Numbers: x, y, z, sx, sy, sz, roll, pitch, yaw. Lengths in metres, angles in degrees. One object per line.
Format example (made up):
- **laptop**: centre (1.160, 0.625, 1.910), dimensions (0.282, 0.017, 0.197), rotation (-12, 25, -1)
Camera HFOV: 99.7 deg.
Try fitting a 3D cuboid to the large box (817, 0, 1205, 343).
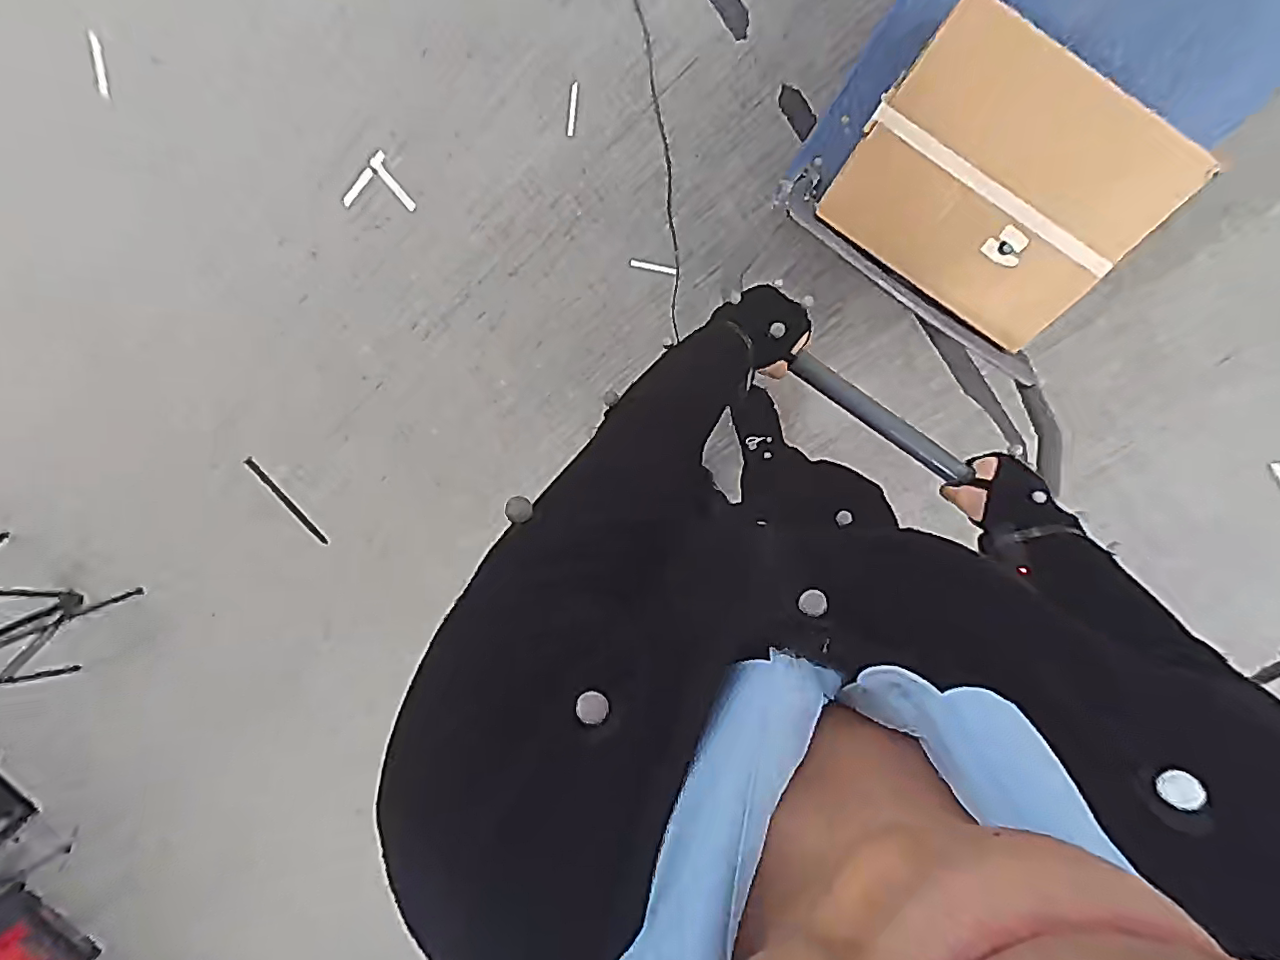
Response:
- **large box**: centre (0.566, -0.509, 0.922), dimensions (0.408, 0.320, 0.320), rotation (34, 128, -2)
